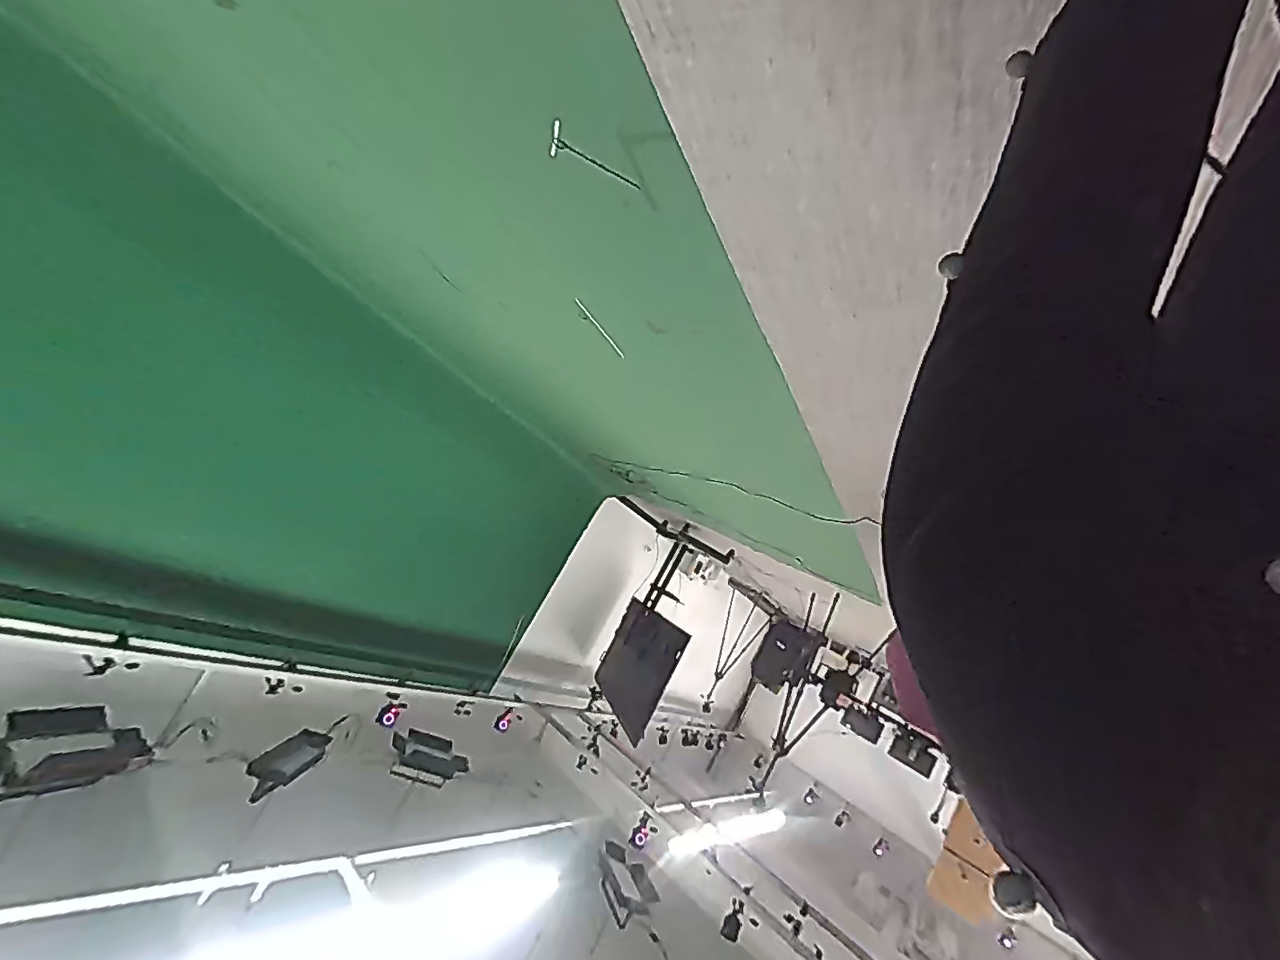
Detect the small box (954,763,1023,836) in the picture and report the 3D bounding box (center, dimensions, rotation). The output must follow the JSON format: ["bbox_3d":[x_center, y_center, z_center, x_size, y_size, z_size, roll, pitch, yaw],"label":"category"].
[{"bbox_3d":[1.290,1.176,2.004,0.168,0.176,0.179,23,169,33],"label":"small box"}]

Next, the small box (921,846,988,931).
[{"bbox_3d":[1.130,1.458,1.945,0.168,0.176,0.179,22,167,34],"label":"small box"}]
